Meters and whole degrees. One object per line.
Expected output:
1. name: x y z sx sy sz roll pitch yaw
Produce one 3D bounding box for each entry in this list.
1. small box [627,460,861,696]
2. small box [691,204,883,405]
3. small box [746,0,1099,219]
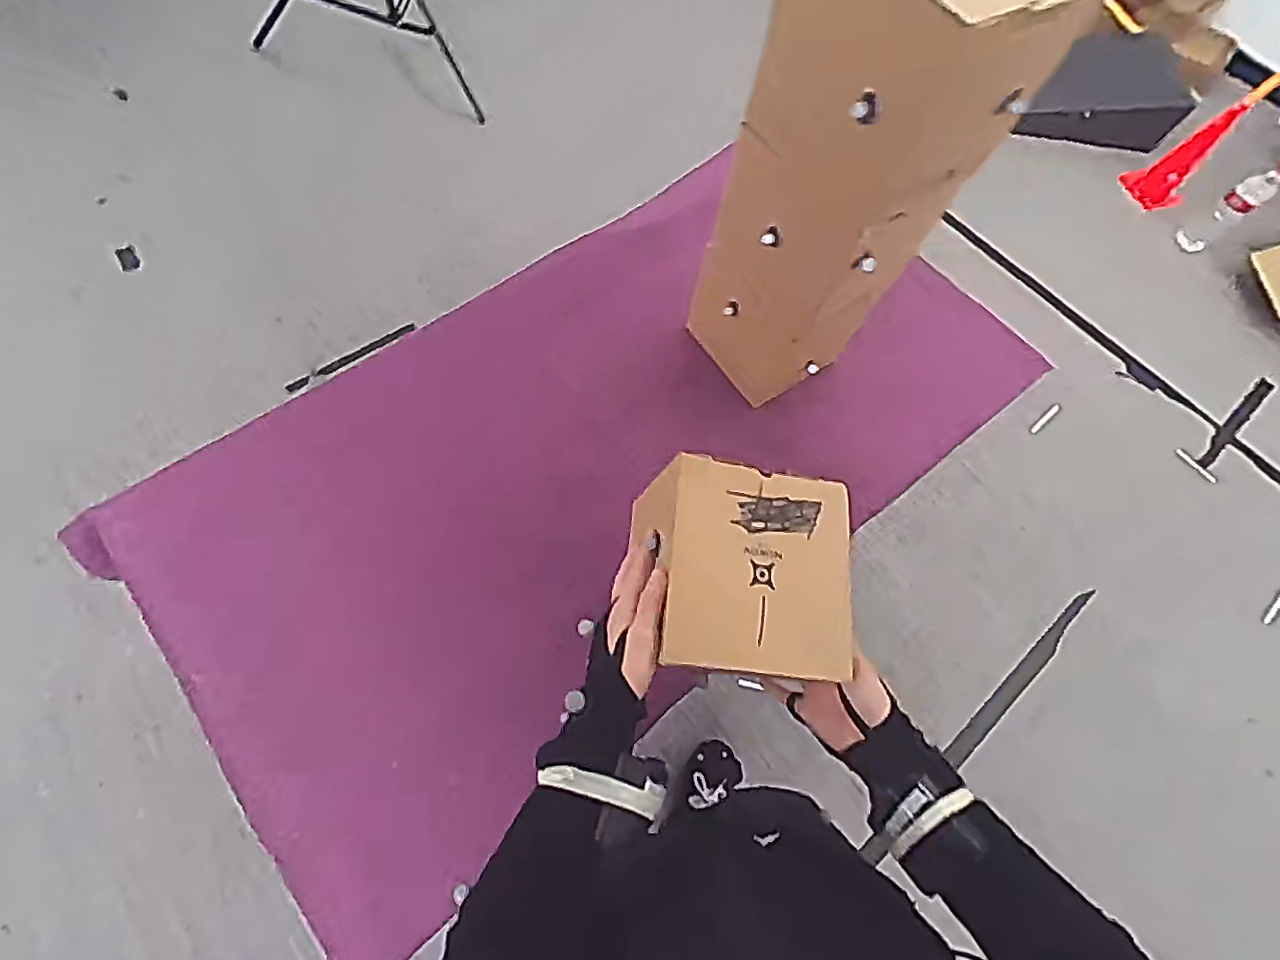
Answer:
1. small box: 0.091 0.103 0.524 0.168 0.176 0.179 11 70 -11
2. small box: 0.191 -0.239 0.762 0.168 0.176 0.179 -32 74 -15
3. small box: 0.218 -0.353 0.457 0.168 0.176 0.179 -29 72 -16
